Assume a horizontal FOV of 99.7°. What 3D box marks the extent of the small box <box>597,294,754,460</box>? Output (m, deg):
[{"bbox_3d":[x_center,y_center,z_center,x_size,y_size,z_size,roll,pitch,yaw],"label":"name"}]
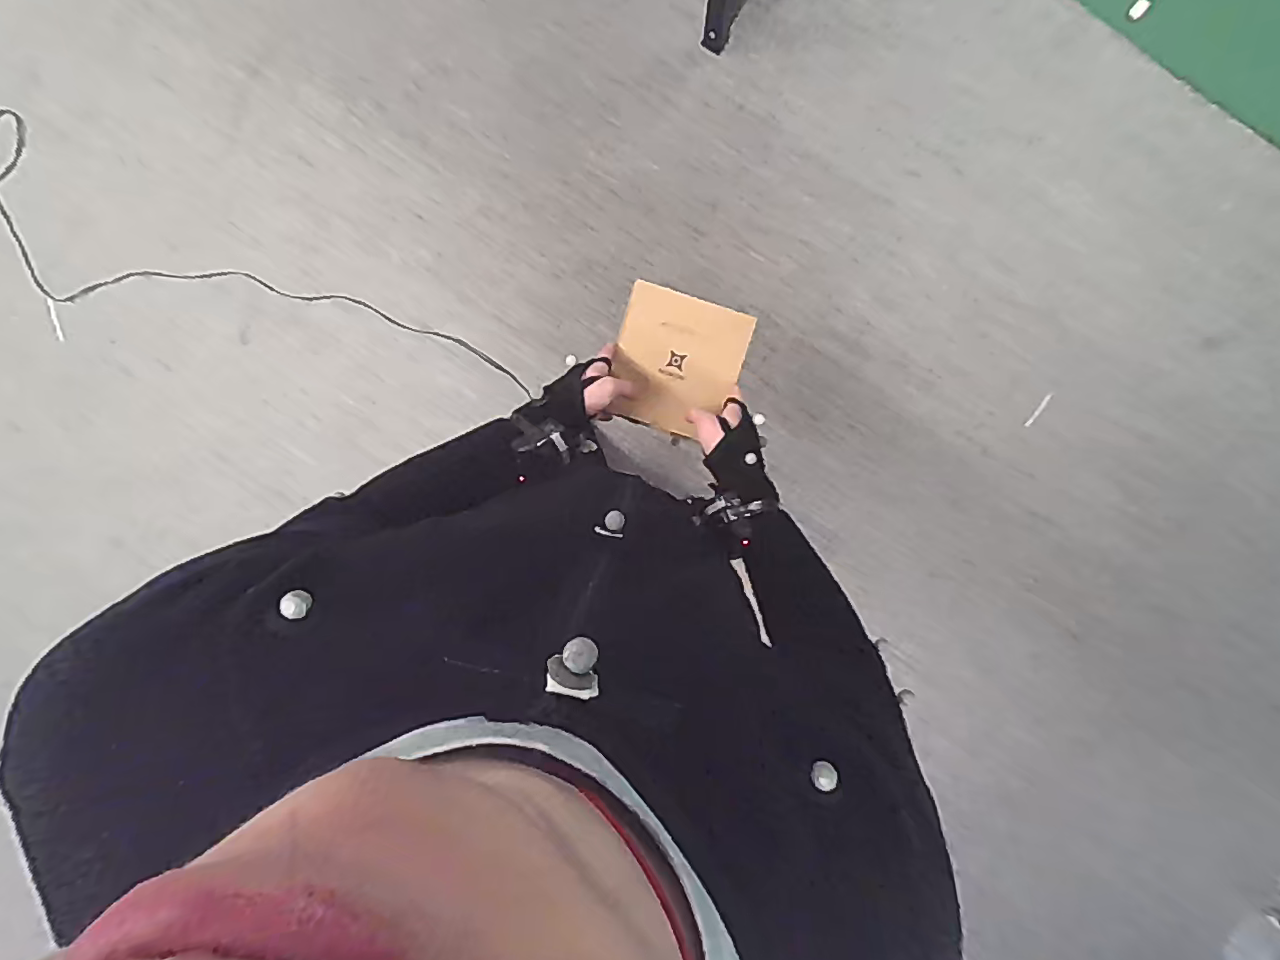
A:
[{"bbox_3d":[0.046,-0.141,0.776,0.168,0.176,0.179,17,97,-2],"label":"small box"}]
